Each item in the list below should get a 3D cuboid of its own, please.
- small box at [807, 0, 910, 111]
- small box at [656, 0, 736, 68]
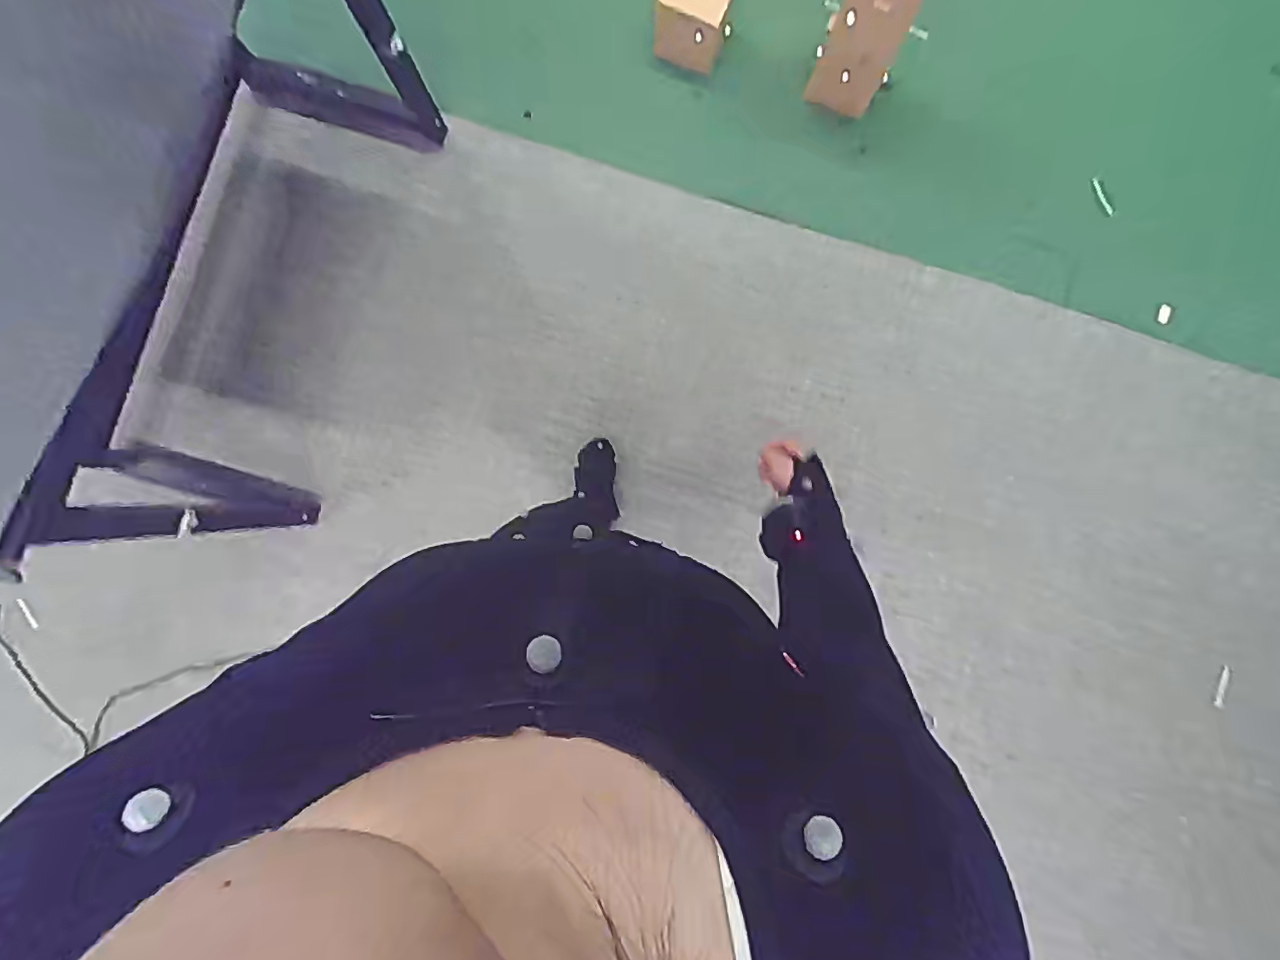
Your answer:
[{"bbox_3d":[0.579,-1.140,1.451,0.179,0.176,0.168,21,88,1],"label":"small box"},{"bbox_3d":[0.154,-1.263,1.451,0.179,0.176,0.168,23,87,1],"label":"small box"}]
